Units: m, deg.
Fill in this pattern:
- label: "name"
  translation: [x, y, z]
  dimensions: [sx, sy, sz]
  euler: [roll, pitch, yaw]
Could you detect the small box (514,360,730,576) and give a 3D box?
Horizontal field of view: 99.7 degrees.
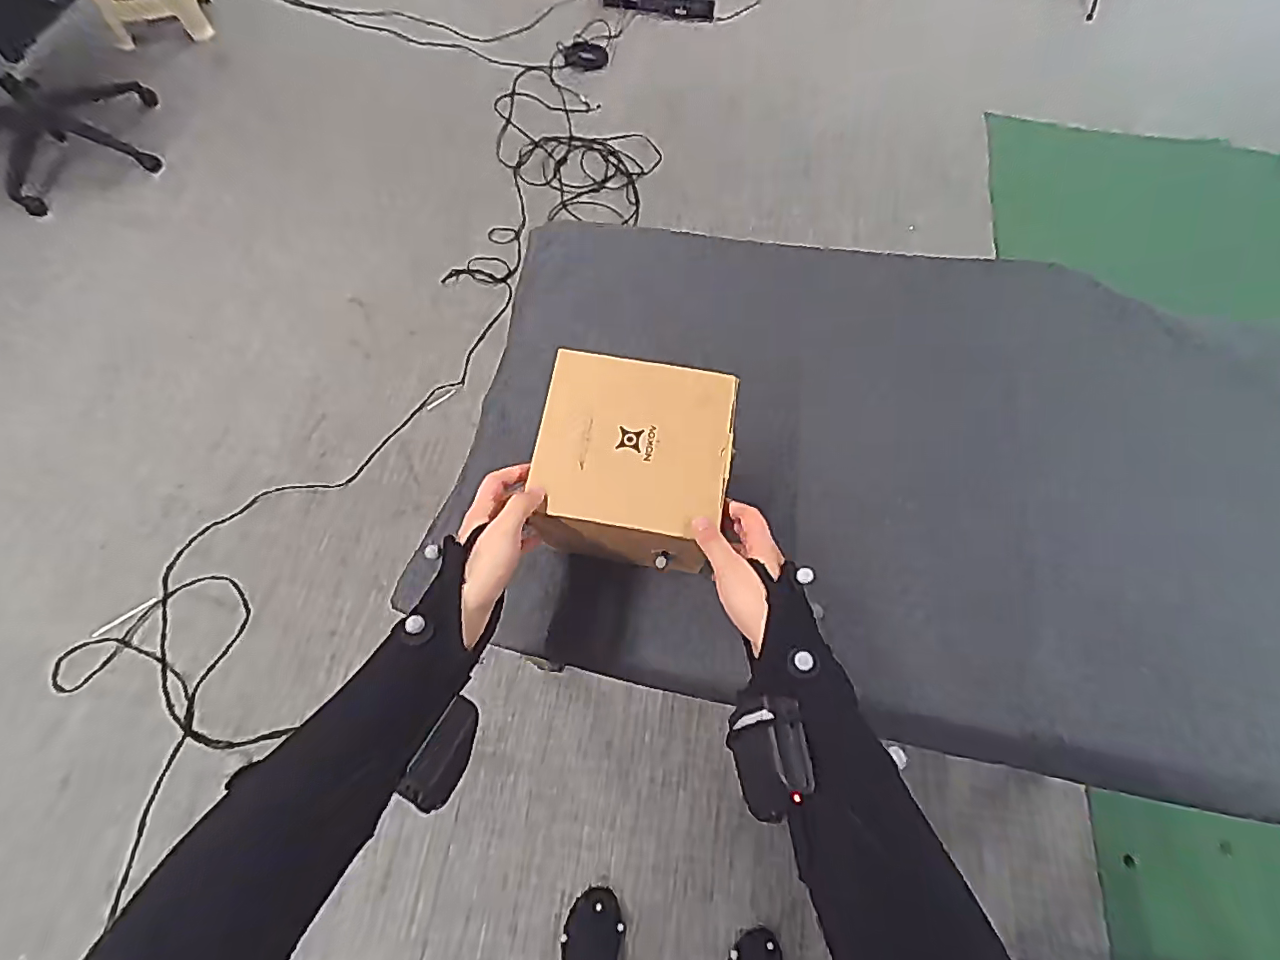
- label: "small box"
  translation: [-0.012, -0.001, 0.562]
  dimensions: [0.179, 0.176, 0.168]
  euler: [7, 70, 3]
